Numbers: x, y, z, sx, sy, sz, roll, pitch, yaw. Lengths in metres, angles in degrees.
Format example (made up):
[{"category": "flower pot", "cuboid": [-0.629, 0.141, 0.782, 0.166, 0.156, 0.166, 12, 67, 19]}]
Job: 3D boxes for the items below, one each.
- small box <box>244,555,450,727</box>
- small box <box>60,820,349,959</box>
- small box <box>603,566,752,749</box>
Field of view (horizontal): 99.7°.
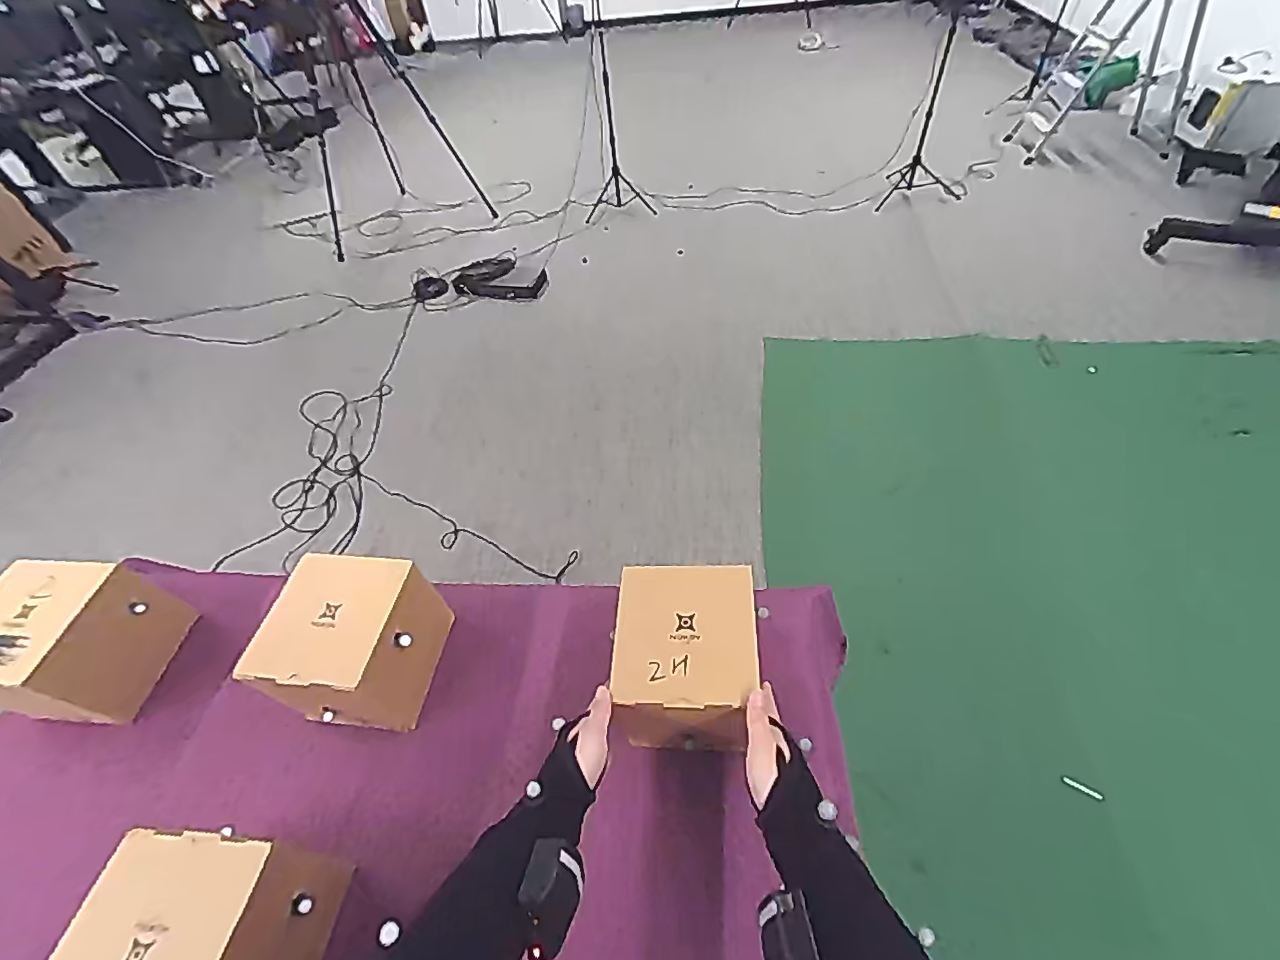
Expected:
[{"category": "small box", "cuboid": [-0.391, 0.229, 0.766, 0.168, 0.176, 0.179, 2, 52, 9]}, {"category": "small box", "cuboid": [-0.440, 0.478, 0.560, 0.168, 0.176, 0.179, 0, 49, 9]}, {"category": "small box", "cuboid": [0.058, 0.228, 0.698, 0.168, 0.176, 0.179, -3, 50, 11]}]
